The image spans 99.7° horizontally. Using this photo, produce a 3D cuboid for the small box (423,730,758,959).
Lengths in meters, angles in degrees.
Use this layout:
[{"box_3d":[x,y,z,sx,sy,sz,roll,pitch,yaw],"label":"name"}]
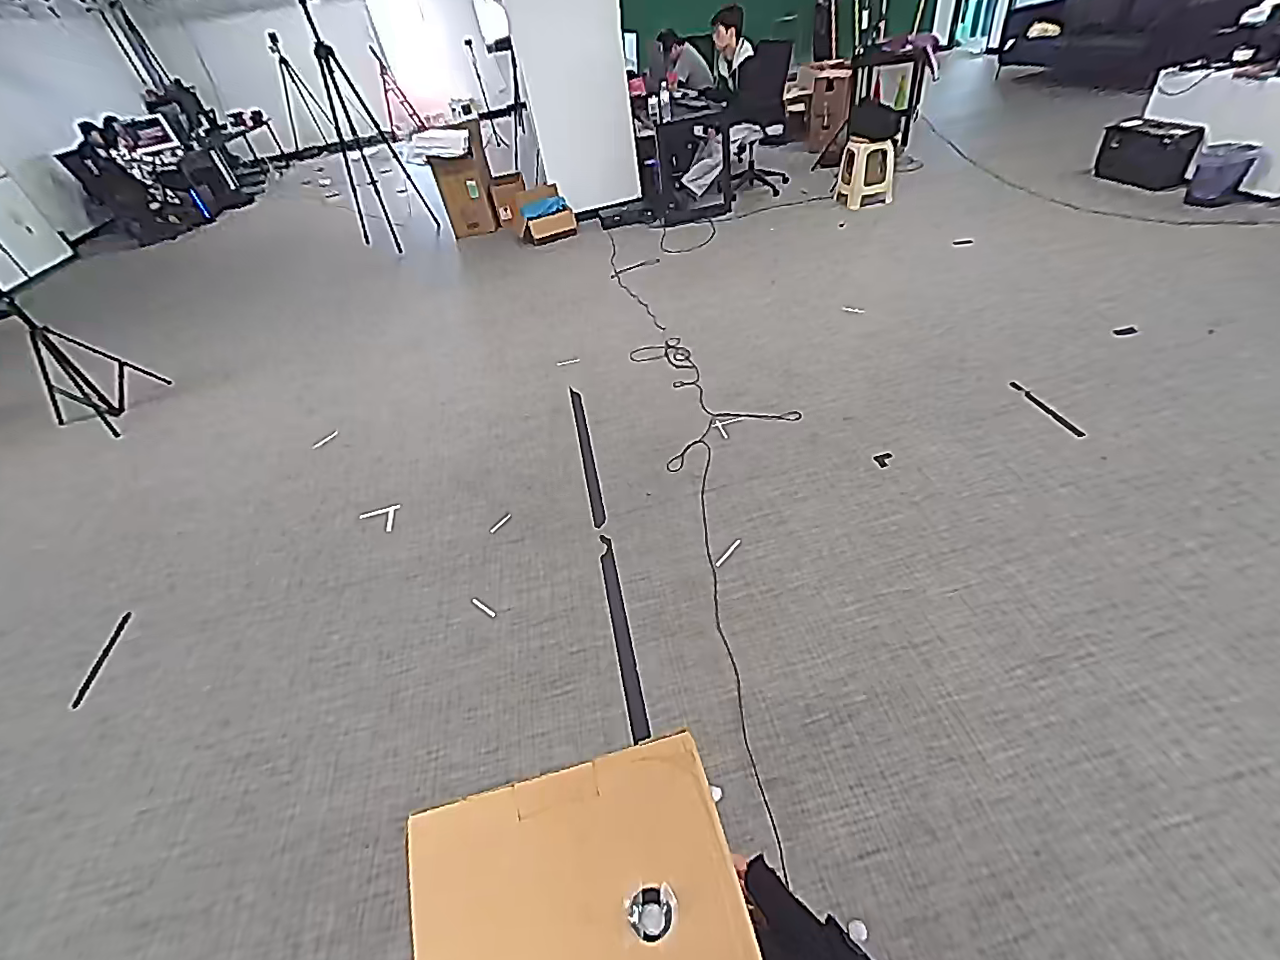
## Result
[{"box_3d":[-0.023,0.281,0.354,0.168,0.179,0.176,-14,62,-6],"label":"small box"}]
